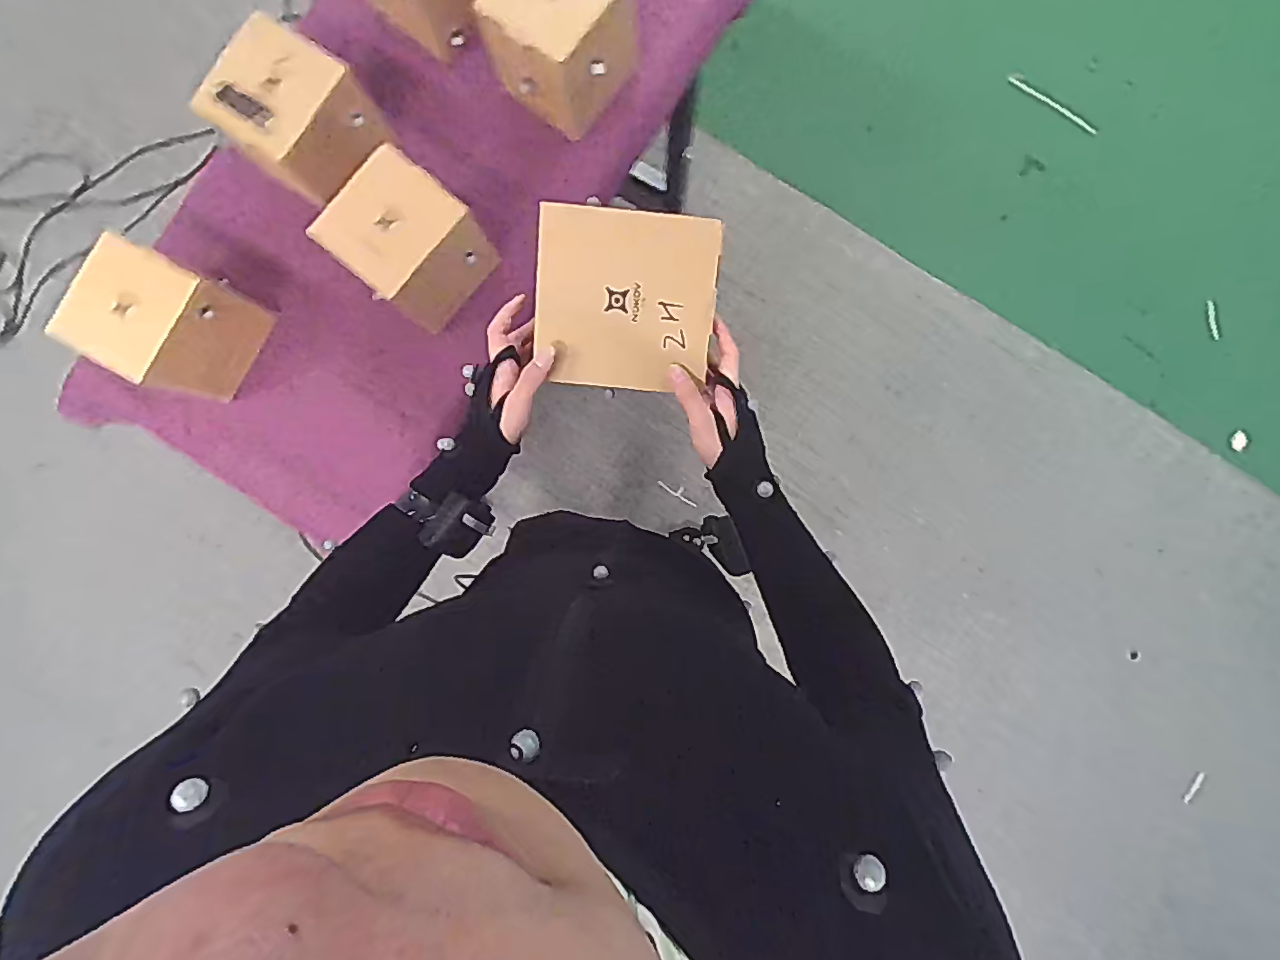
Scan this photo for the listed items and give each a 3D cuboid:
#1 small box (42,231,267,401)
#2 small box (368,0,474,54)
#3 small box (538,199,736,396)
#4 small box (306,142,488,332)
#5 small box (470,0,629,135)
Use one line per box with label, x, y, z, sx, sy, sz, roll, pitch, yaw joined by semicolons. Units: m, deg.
small box;-0.745;-0.244;0.853;0.168;0.176;0.179;28;88;1
small box;-0.361;-0.845;0.869;0.179;0.176;0.168;38;89;3
small box;-0.005;-0.188;0.593;0.179;0.176;0.168;6;104;-2
small box;-0.363;-0.368;0.852;0.168;0.176;0.179;40;90;3
small box;-0.129;-0.704;0.859;0.168;0.176;0.179;37;90;3
